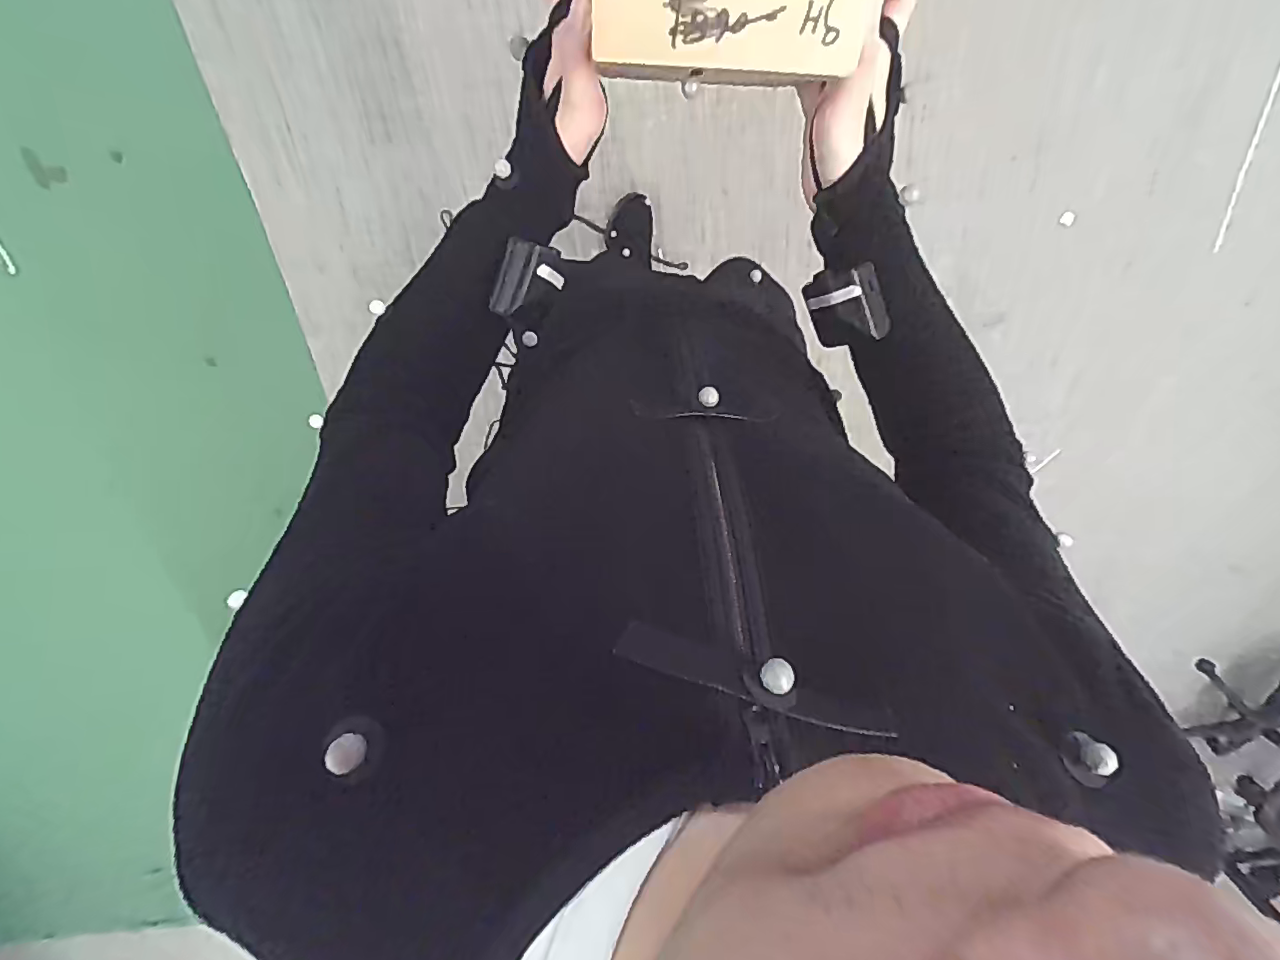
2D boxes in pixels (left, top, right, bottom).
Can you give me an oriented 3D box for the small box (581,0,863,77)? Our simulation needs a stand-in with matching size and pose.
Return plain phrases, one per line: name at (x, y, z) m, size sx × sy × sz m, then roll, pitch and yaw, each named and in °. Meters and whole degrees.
small box at (0.047, -0.373, 0.341) m, size 0.168 × 0.176 × 0.179 m, roll 1°, pitch 125°, yaw -3°
